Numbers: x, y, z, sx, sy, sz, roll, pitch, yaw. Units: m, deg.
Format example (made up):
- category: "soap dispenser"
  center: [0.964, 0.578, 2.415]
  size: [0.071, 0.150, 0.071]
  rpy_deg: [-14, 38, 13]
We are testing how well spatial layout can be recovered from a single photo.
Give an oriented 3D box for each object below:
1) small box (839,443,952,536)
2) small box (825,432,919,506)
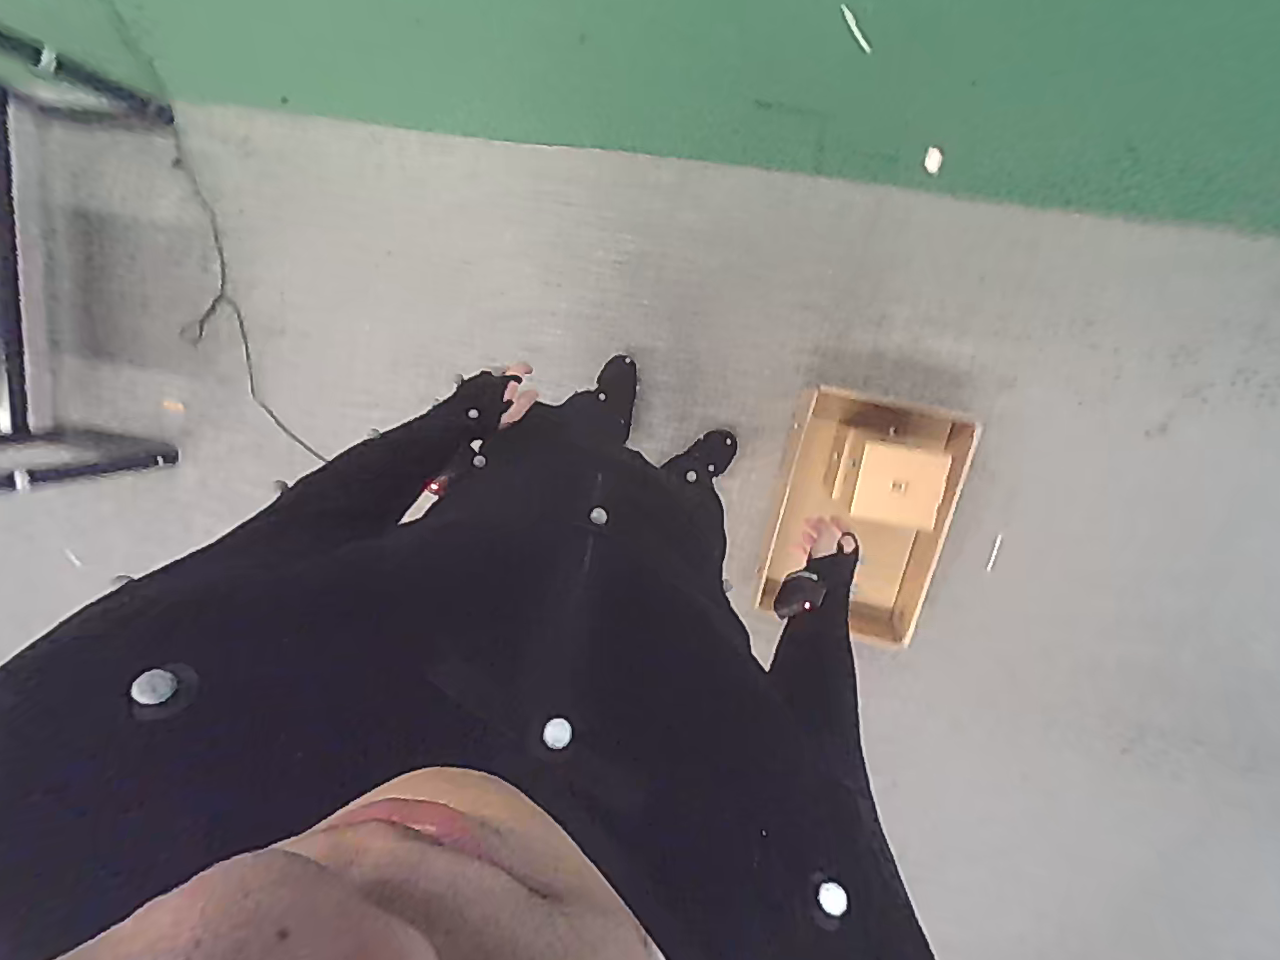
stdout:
- category: "small box"
  center: [0.565, 0.013, 1.223]
  size: [0.179, 0.176, 0.168]
  rpy_deg: [11, 102, 9]
- category: "small box"
  center: [0.582, -0.020, 1.381]
  size: [0.168, 0.176, 0.179]
  rpy_deg: [13, 104, 9]
